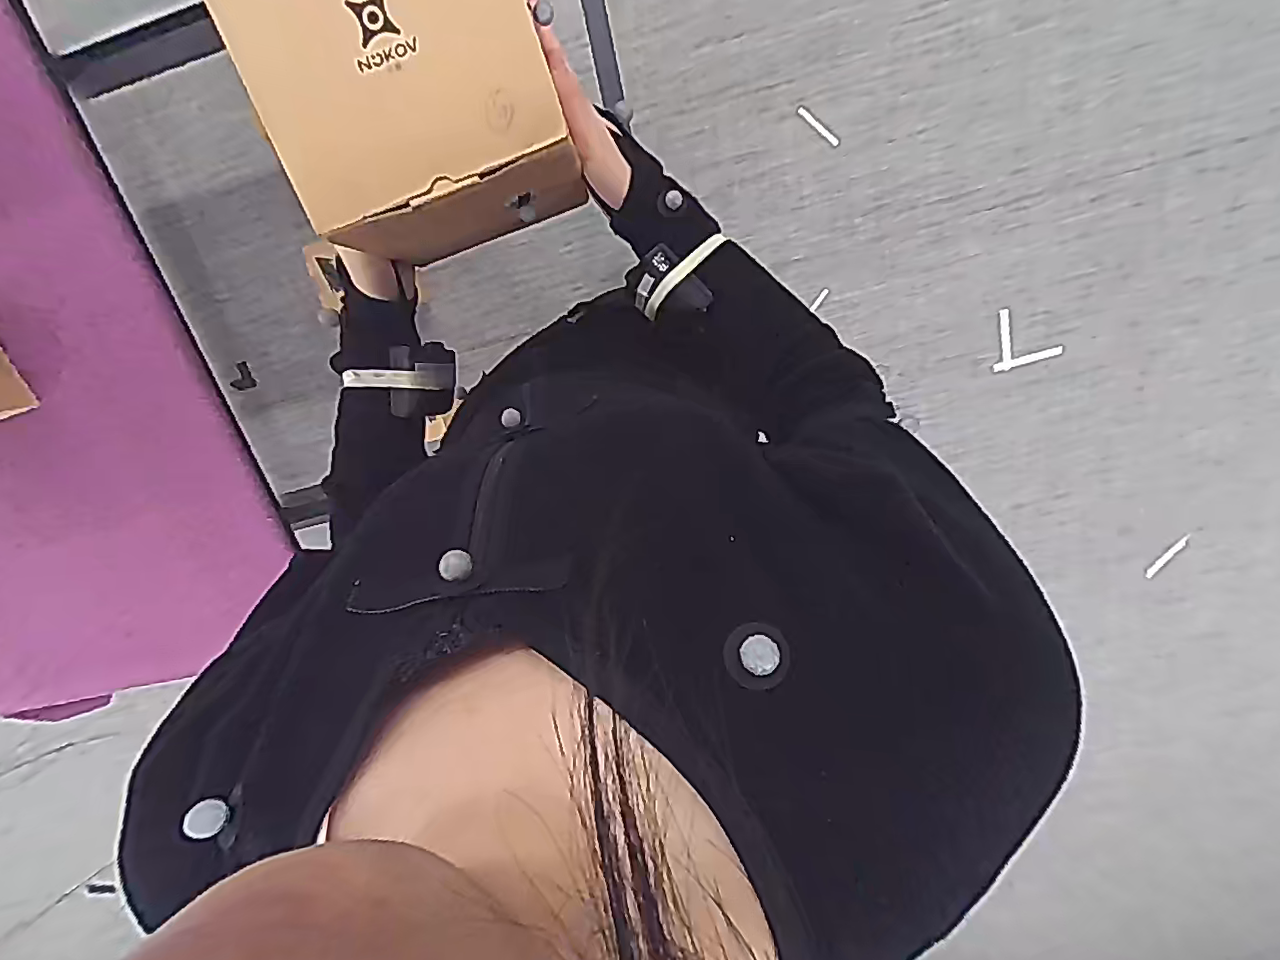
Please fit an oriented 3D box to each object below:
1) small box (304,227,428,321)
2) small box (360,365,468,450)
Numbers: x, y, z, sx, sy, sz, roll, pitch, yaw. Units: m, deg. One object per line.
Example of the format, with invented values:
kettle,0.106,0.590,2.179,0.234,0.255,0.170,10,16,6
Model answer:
small box,-0.635,-0.481,1.276,0.179,0.176,0.168,-14,109,5
small box,-0.568,-0.189,1.381,0.179,0.176,0.168,-12,109,6
